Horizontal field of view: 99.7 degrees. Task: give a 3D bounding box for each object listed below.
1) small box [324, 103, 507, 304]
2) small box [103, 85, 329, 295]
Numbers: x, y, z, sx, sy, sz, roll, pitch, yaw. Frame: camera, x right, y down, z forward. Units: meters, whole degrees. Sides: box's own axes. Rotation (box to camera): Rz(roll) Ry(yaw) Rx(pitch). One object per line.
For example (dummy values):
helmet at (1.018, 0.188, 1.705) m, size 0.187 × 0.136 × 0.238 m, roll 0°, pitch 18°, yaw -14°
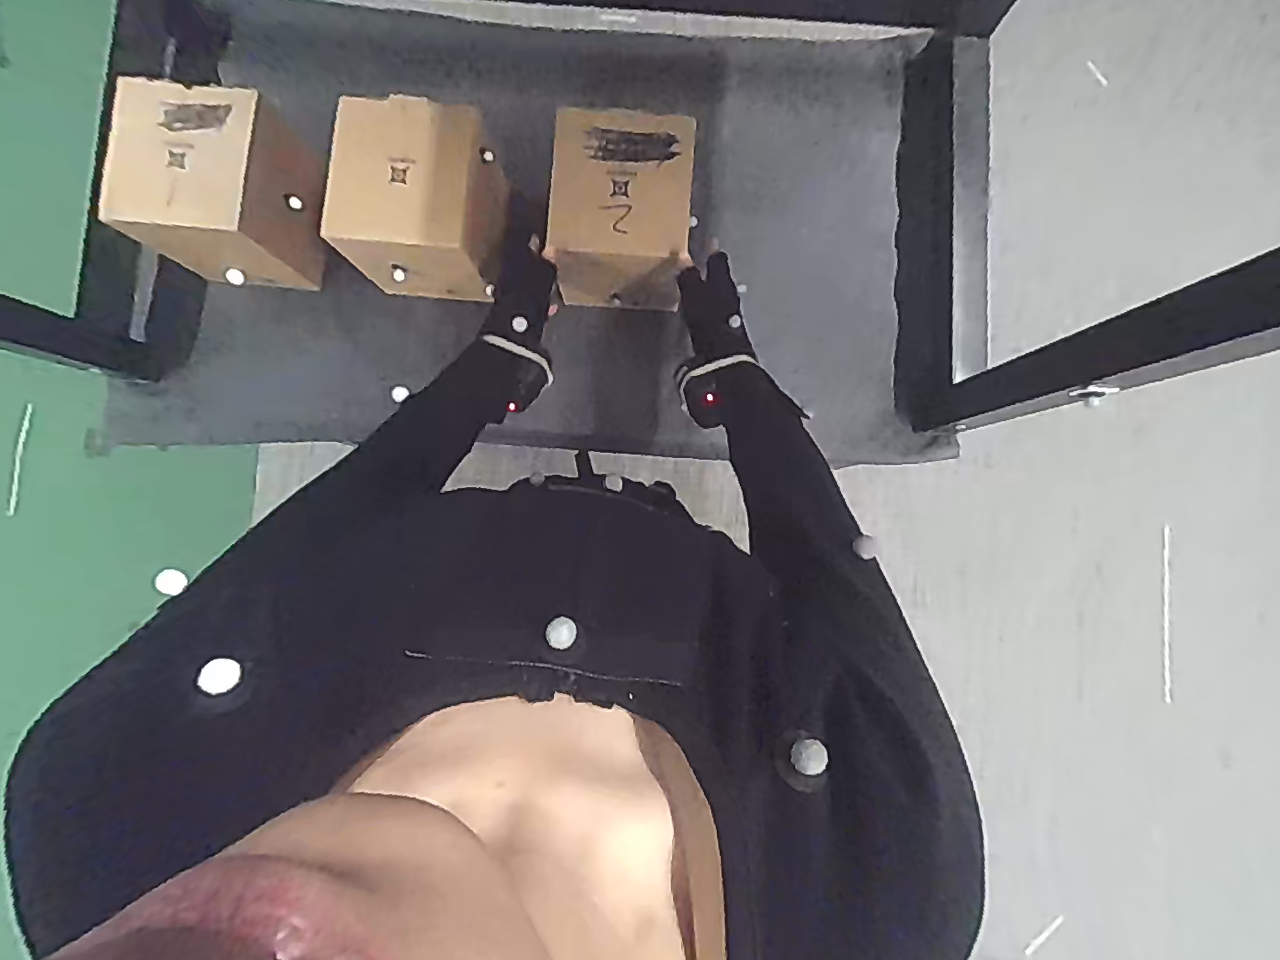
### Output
small box at (-0.281, -0.350, 0.715) m, size 0.168 × 0.176 × 0.179 m, roll 5°, pitch 85°, yaw 0°
small box at (-0.534, -0.368, 0.712) m, size 0.168 × 0.176 × 0.179 m, roll 5°, pitch 86°, yaw 0°
